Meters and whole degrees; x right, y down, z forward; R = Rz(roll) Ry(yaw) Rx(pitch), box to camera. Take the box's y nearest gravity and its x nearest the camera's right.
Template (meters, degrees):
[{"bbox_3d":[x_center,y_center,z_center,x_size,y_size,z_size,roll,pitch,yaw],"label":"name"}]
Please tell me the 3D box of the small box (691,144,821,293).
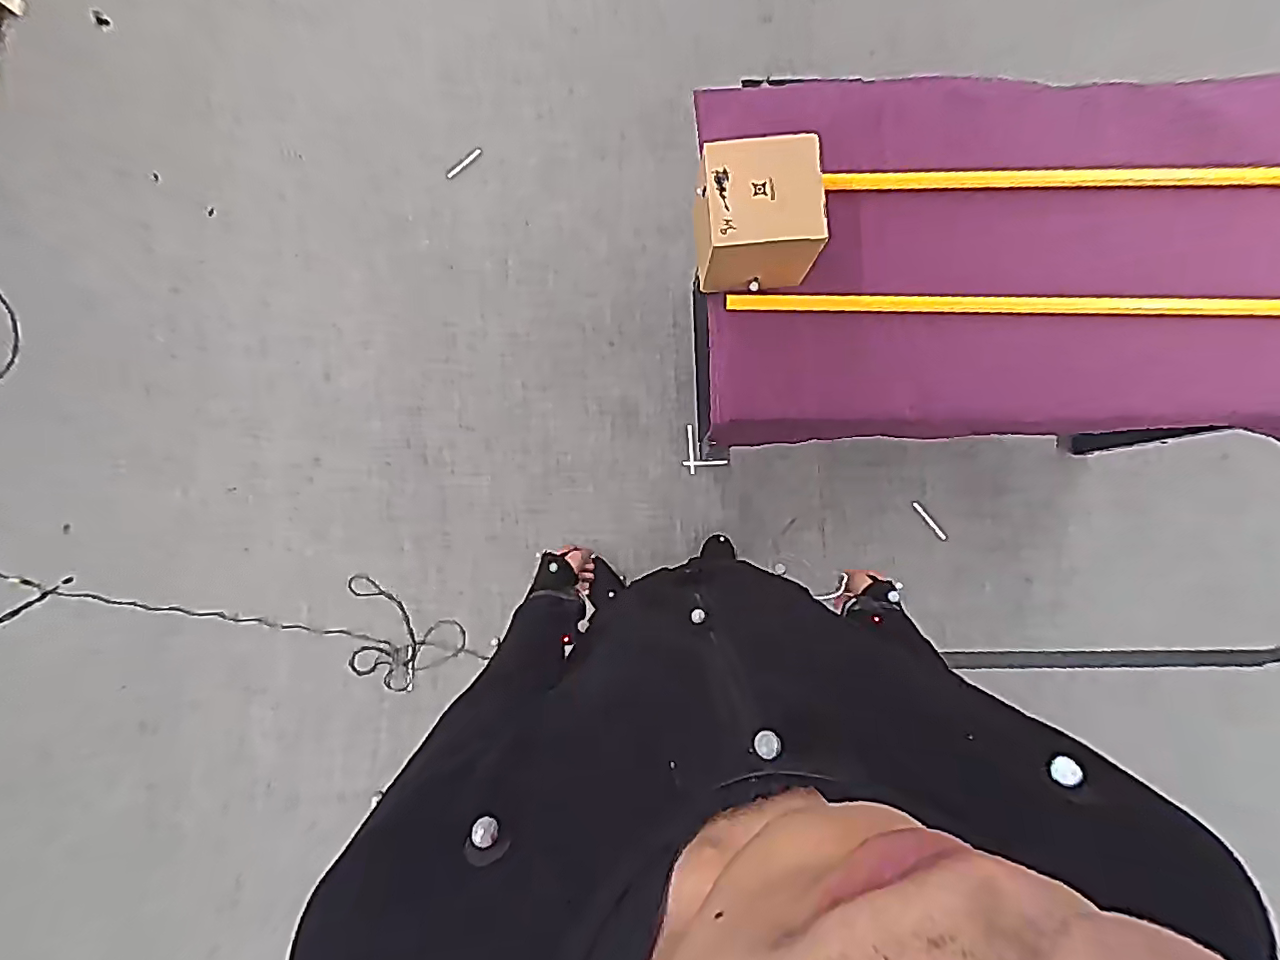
[{"bbox_3d":[0.184,-0.426,0.903,0.179,0.176,0.168,-3,86,0],"label":"small box"}]
